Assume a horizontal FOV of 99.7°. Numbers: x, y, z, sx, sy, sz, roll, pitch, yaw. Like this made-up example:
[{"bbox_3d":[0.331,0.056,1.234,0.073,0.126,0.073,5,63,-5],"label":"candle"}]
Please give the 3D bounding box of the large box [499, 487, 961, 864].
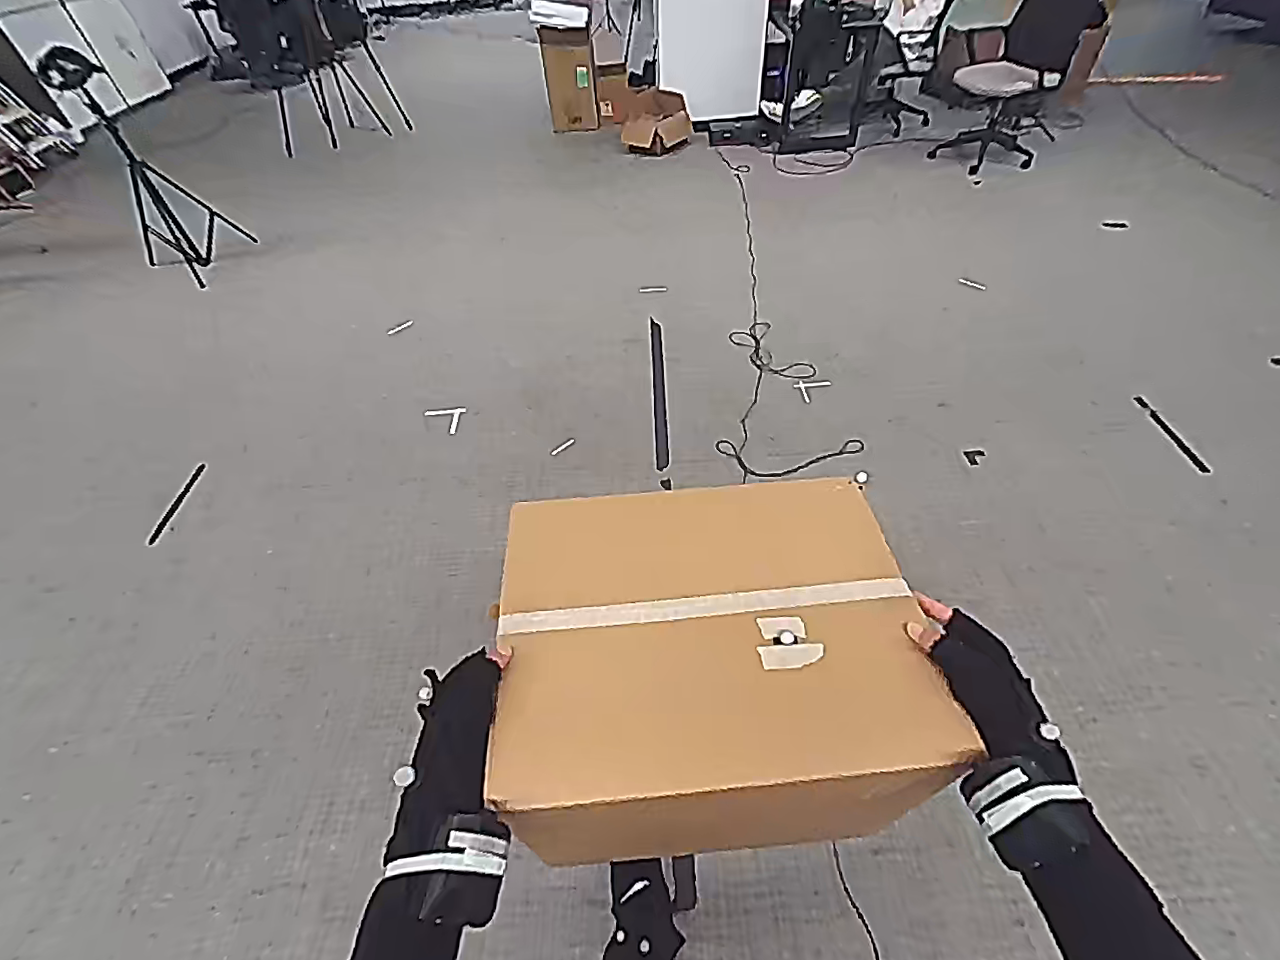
[{"bbox_3d":[0.067,0.238,0.659,0.408,0.320,0.320,-5,48,-3],"label":"large box"}]
